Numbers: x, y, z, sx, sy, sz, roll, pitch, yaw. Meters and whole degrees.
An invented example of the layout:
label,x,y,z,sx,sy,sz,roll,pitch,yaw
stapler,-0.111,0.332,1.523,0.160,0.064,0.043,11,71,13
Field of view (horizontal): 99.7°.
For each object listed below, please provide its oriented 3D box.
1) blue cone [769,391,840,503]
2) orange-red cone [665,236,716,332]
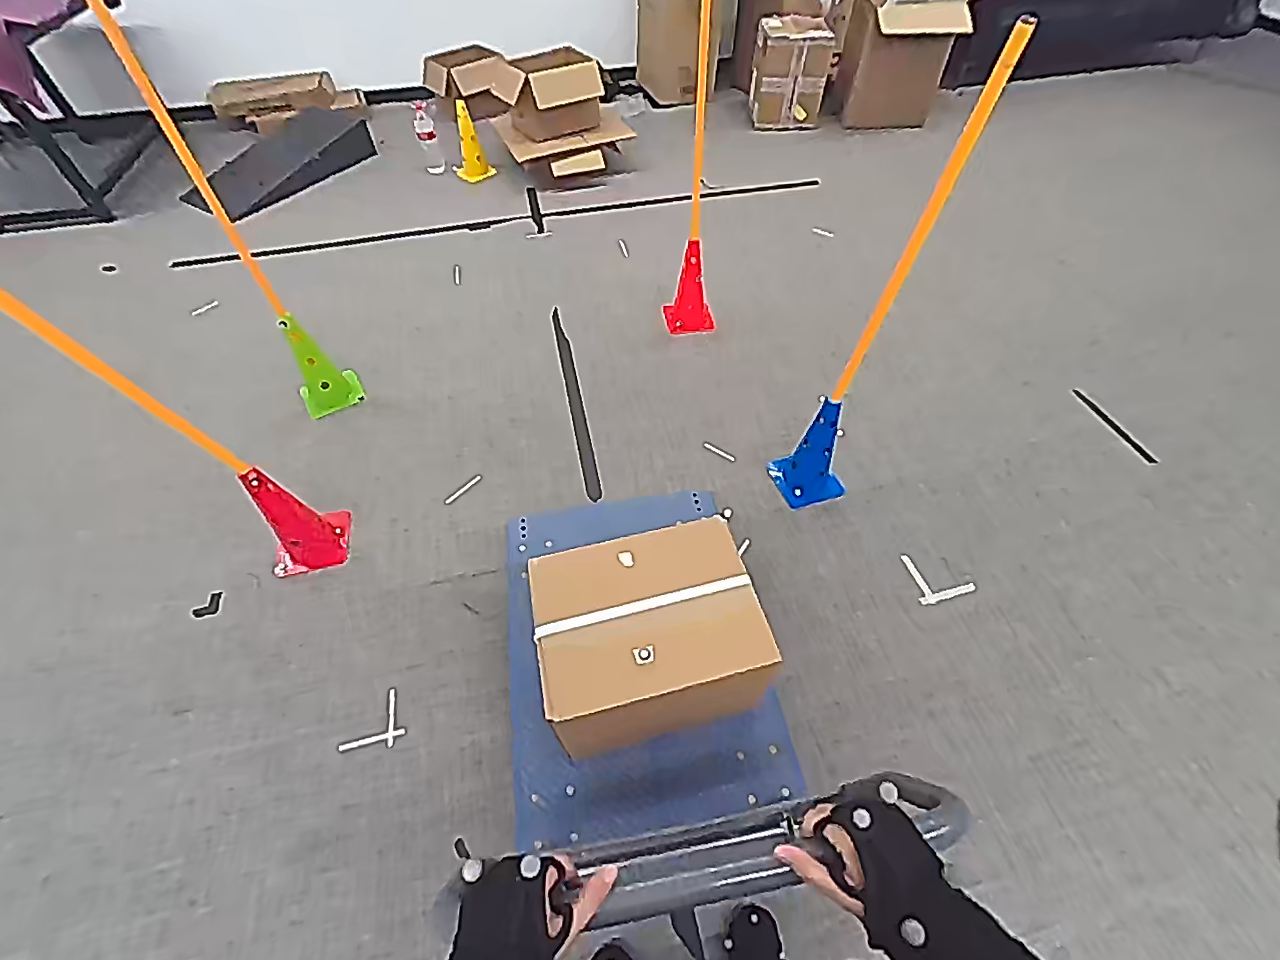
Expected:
label,x,y,z,sx,sy,sz,roll,pitch,yaw
blue cone,0.539,-0.112,1.646,0.193,0.380,0.192,-14,53,-10
orange-red cone,0.211,-0.795,2.152,0.199,0.360,0.198,-5,53,-4
